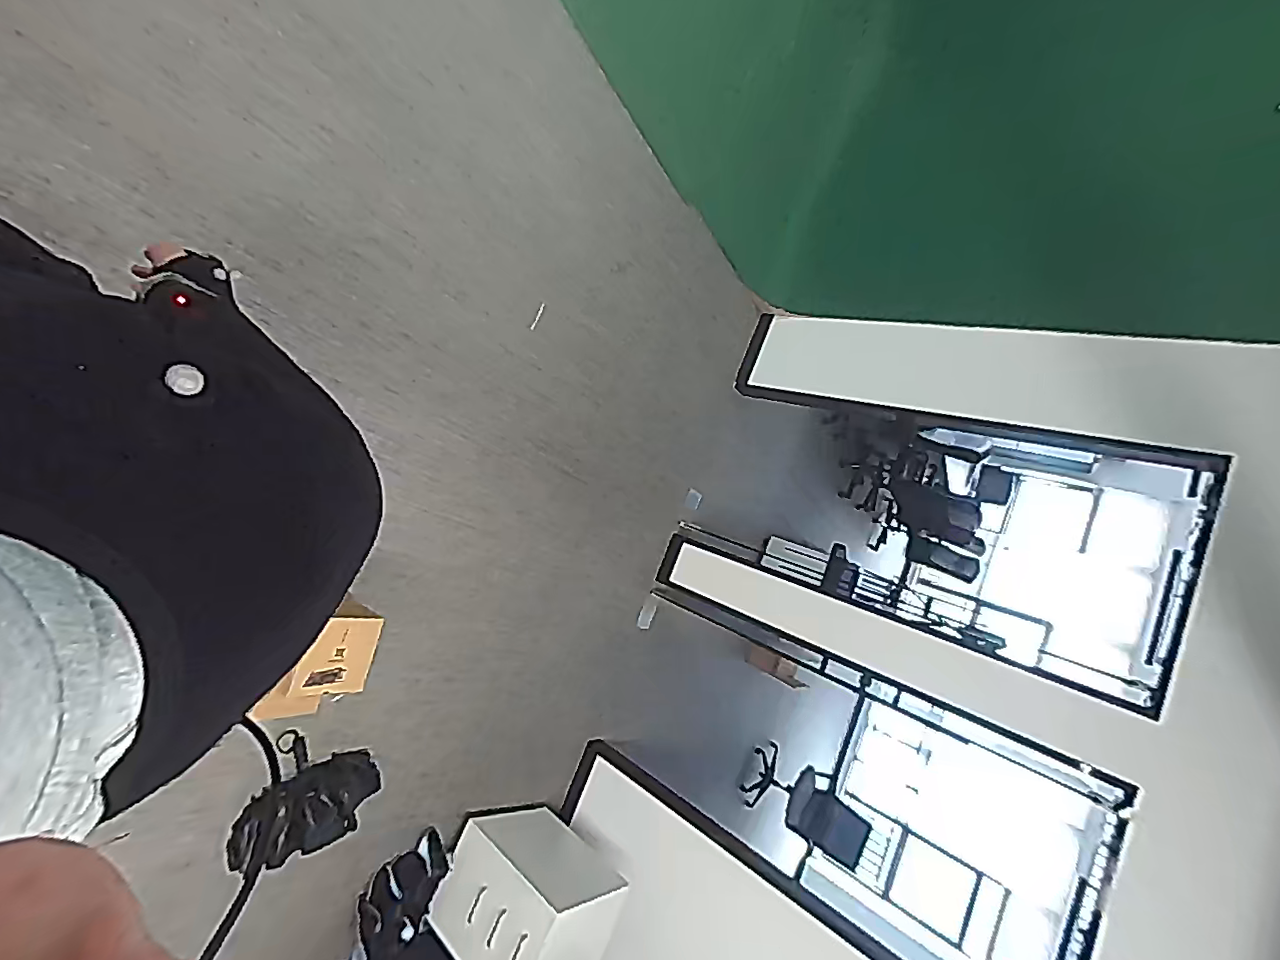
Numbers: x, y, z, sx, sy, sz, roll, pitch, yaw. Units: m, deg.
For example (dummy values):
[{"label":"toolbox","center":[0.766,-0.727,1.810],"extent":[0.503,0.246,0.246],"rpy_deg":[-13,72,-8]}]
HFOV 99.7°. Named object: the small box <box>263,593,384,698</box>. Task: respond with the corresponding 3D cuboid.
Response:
[{"label":"small box","center":[-0.725,0.372,1.232],"extent":[0.168,0.176,0.179],"rpy_deg":[22,82,-54]}]
